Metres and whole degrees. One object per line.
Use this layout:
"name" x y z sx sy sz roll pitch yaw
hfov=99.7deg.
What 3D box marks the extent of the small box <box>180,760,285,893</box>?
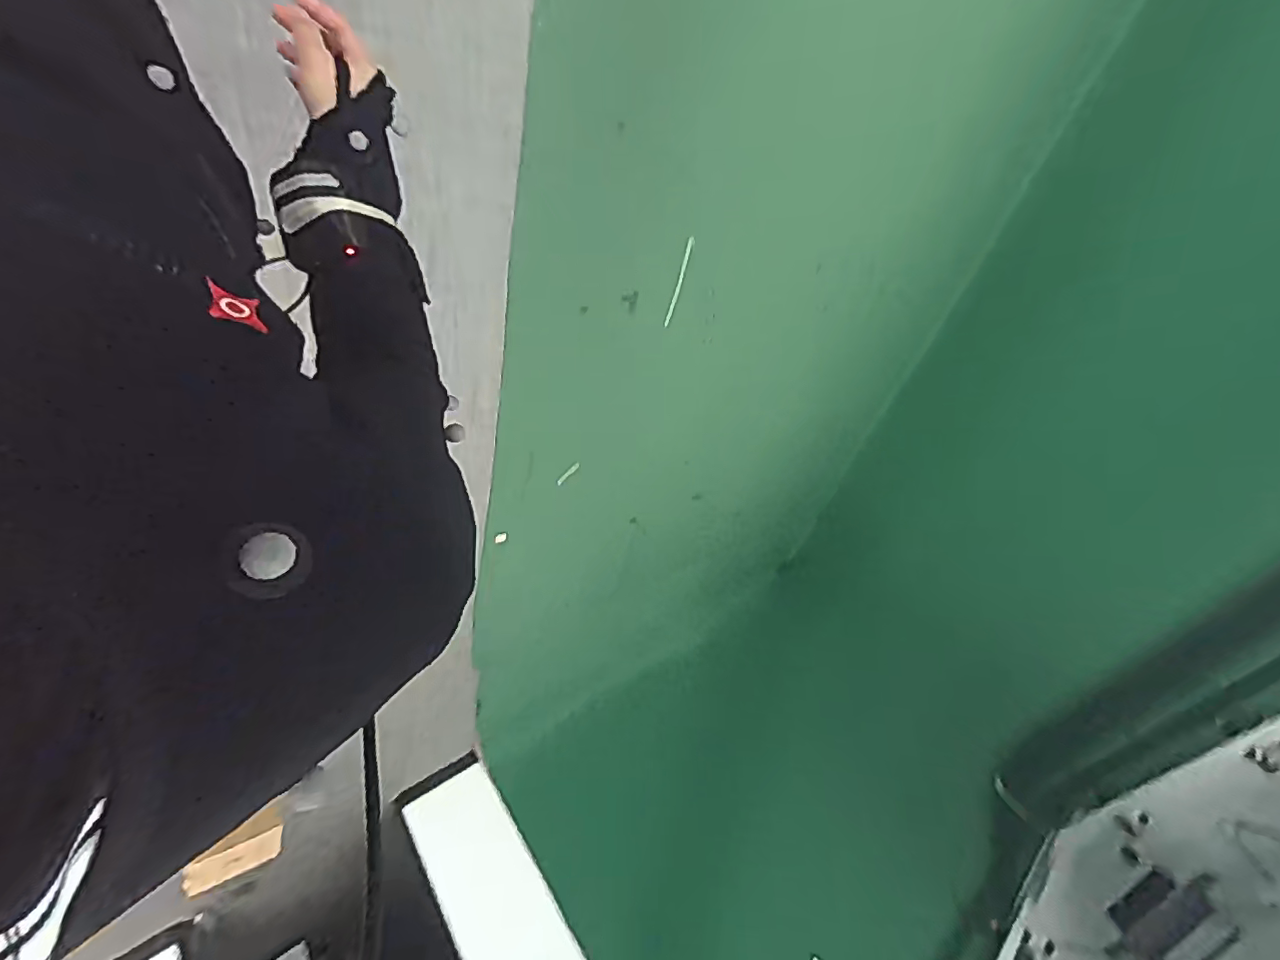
"small box" -0.967 0.809 1.277 0.179 0.176 0.168 -8 135 -45
